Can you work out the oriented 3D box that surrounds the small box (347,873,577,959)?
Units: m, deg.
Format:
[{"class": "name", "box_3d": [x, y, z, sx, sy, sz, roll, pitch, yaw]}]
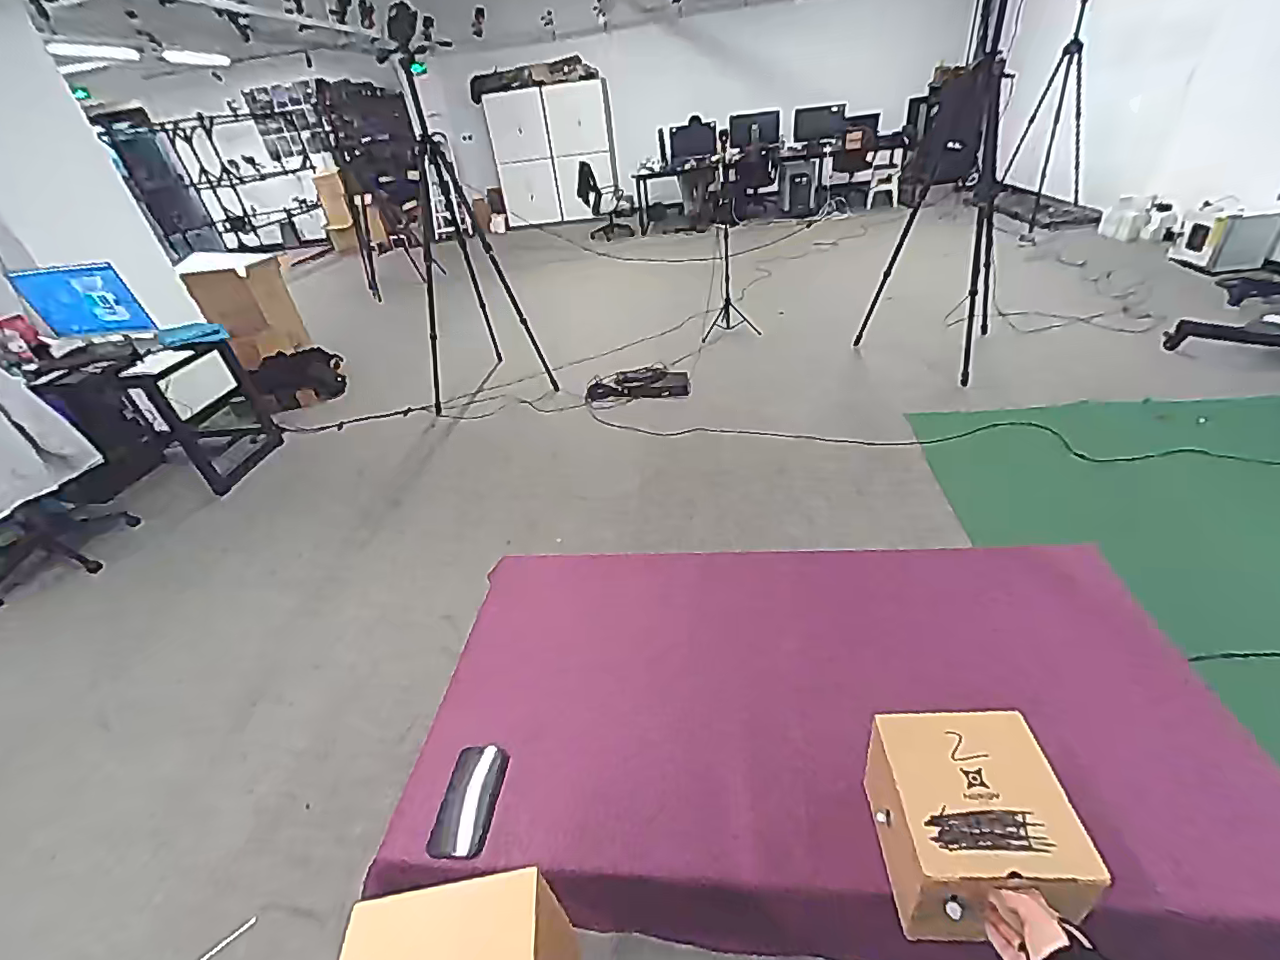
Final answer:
[{"class": "small box", "box_3d": [-0.145, 0.472, 0.449, 0.168, 0.176, 0.179, -10, 35, -1]}]
